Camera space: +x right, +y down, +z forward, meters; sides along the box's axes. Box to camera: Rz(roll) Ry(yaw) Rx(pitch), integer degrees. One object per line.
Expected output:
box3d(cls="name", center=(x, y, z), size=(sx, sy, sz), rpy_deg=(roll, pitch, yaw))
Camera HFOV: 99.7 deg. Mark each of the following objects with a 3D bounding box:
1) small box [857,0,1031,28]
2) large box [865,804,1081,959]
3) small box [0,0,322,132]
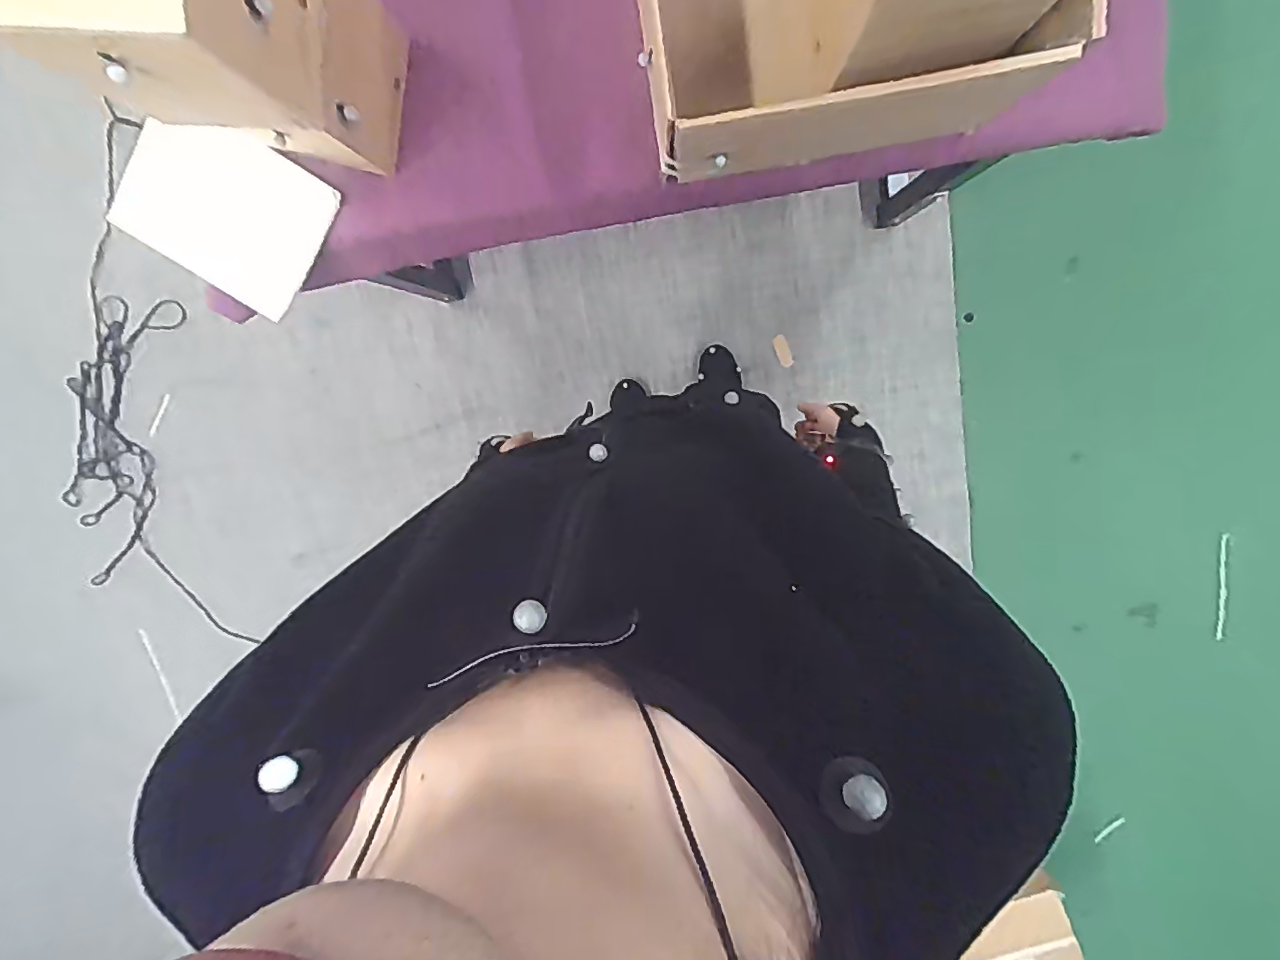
box3d(cls="small box", center=(0.260, -0.458, 0.366), size=(0.179, 0.176, 0.168), rpy_deg=(-5, 101, 7))
box3d(cls="large box", center=(0.940, 1.231, 1.559), size=(0.408, 0.320, 0.320), rpy_deg=(-24, 100, 6))
box3d(cls="small box", center=(-0.399, -0.423, 0.462), size=(0.179, 0.176, 0.168), rpy_deg=(4, 102, 3))
